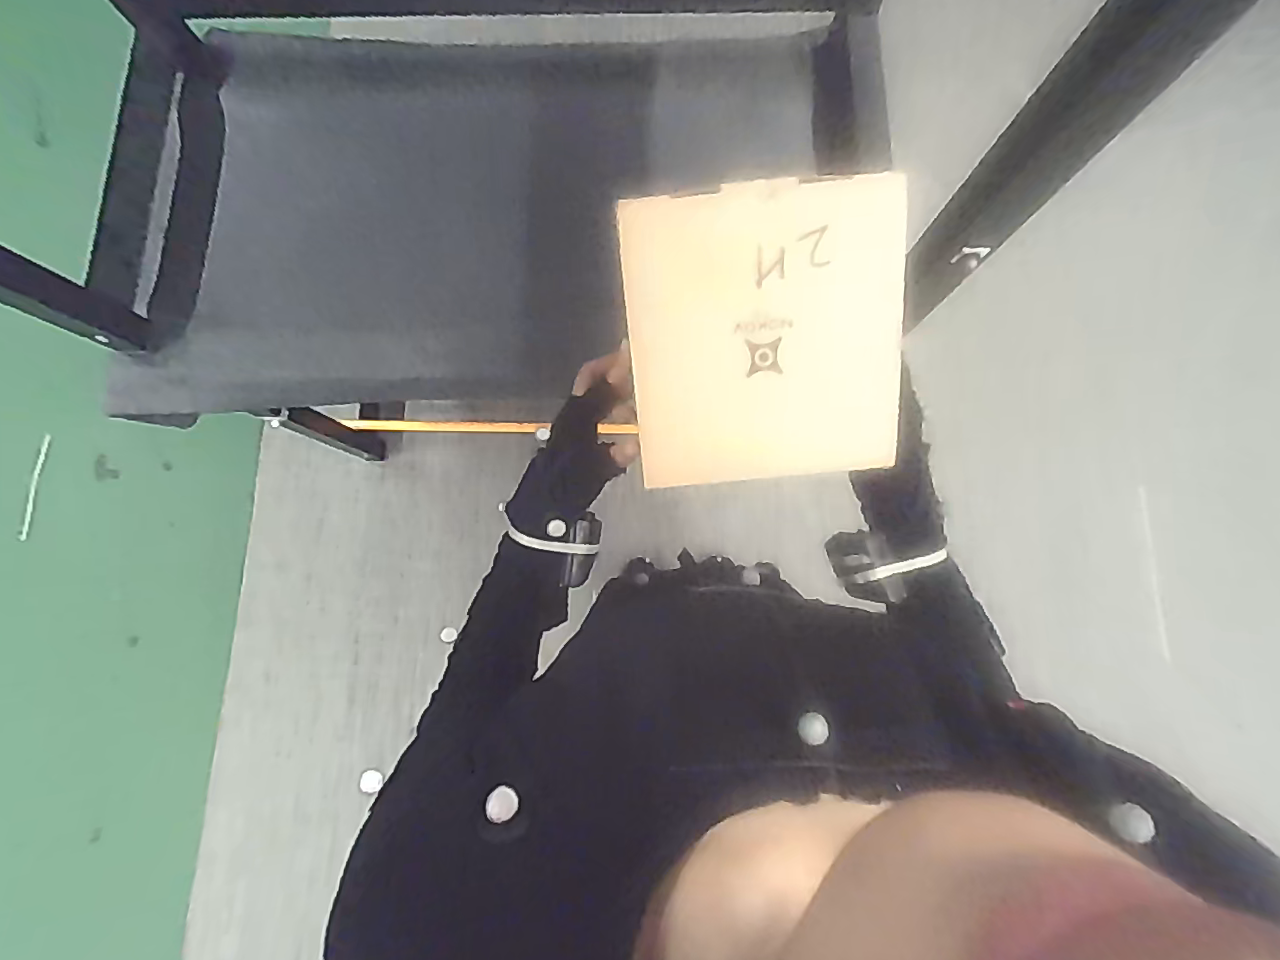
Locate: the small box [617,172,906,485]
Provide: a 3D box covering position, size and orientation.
[{"bbox_3d":[0.076,-0.110,0.407,0.168,0.176,0.179,-6,108,1],"label":"small box"}]
